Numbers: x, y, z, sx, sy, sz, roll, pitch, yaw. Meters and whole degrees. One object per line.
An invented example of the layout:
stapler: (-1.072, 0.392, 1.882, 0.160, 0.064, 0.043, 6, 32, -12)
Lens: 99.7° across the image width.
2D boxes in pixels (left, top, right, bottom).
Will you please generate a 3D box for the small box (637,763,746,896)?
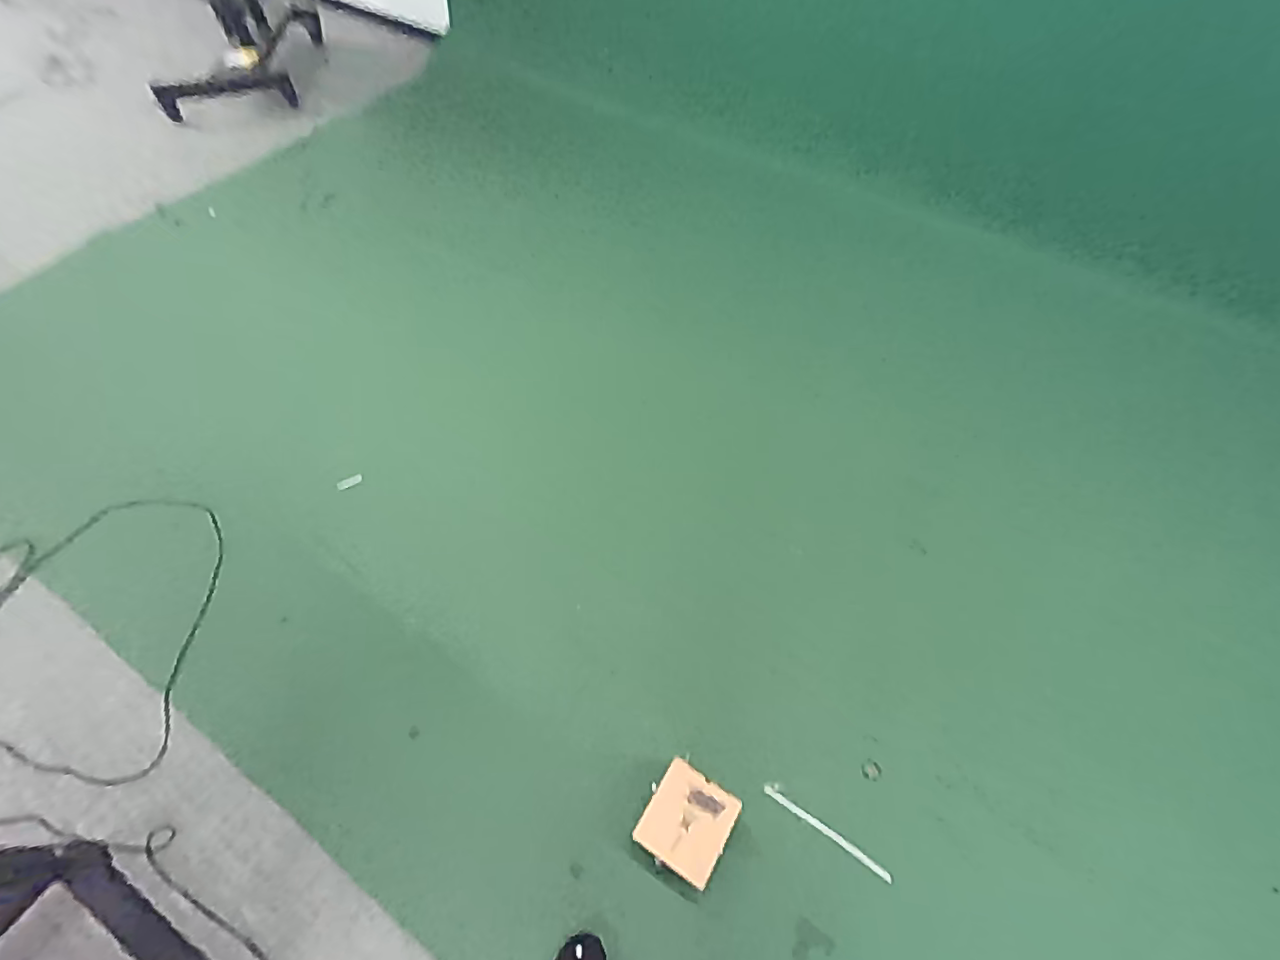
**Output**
small box: (0.105, 0.745, 1.167, 0.168, 0.176, 0.179, 29, 63, 17)
